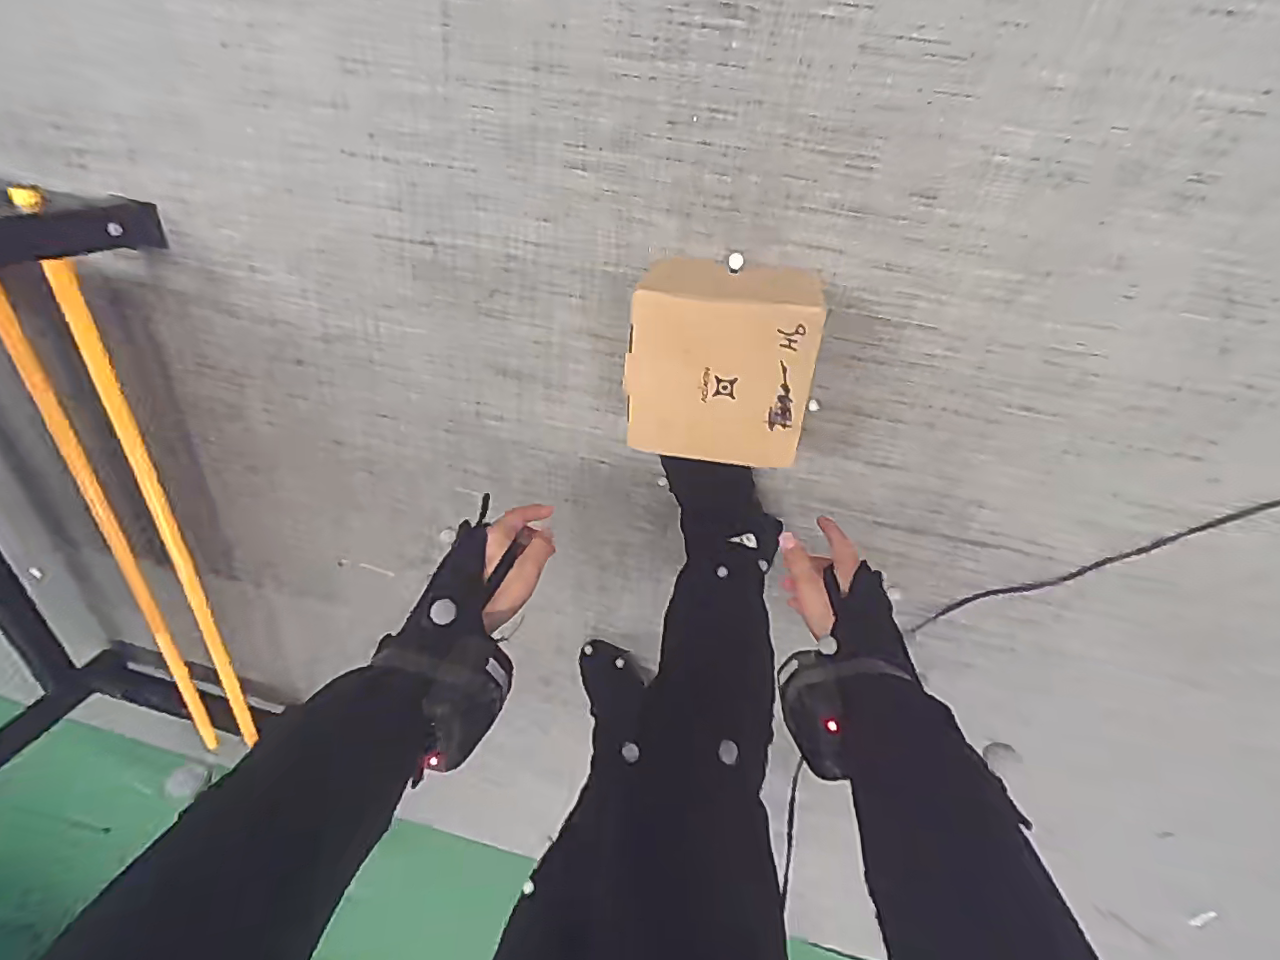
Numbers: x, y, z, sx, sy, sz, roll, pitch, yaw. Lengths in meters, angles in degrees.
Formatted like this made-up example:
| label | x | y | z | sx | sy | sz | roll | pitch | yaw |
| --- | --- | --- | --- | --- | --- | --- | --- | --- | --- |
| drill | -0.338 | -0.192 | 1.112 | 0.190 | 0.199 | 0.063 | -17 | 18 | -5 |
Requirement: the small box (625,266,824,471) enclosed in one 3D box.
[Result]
| label | x | y | z | sx | sy | sz | roll | pitch | yaw |
| --- | --- | --- | --- | --- | --- | --- | --- | --- | --- |
| small box | 0.090 | -0.131 | 0.592 | 0.179 | 0.176 | 0.168 | 9 | 122 | 9 |
